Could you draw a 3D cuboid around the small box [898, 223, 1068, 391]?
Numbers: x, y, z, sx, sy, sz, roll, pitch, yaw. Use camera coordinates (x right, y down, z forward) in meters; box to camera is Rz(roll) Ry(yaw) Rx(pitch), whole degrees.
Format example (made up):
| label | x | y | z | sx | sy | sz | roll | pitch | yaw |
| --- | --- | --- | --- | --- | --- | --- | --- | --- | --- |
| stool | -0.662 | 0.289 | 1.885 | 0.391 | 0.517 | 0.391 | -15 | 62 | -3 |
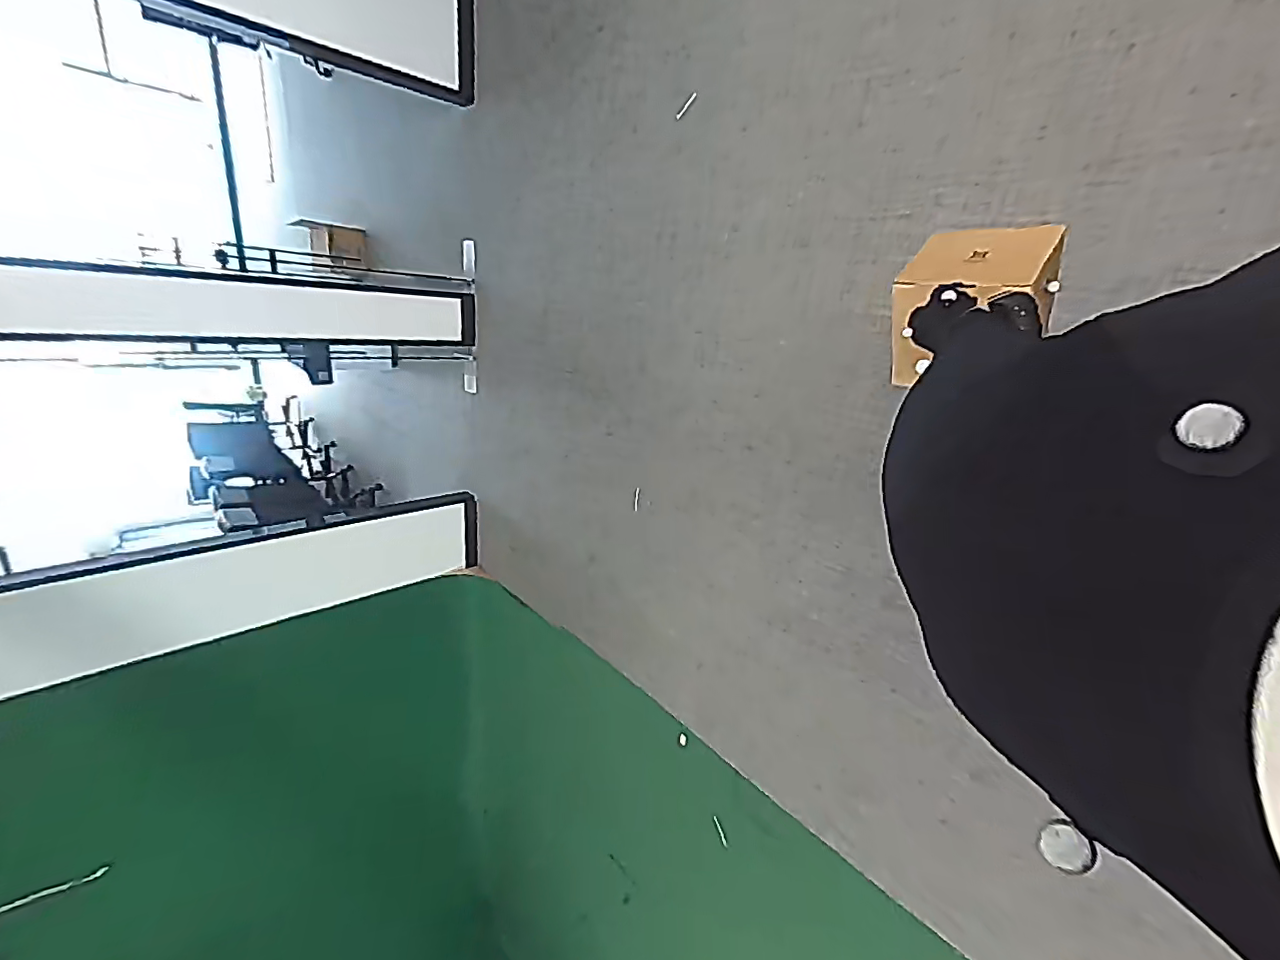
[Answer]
| label | x | y | z | sx | sy | sz | roll | pitch | yaw |
| --- | --- | --- | --- | --- | --- | --- | --- | --- | --- |
| small box | 0.496 | -0.255 | 0.797 | 0.168 | 0.179 | 0.176 | 17 | 142 | 40 |
